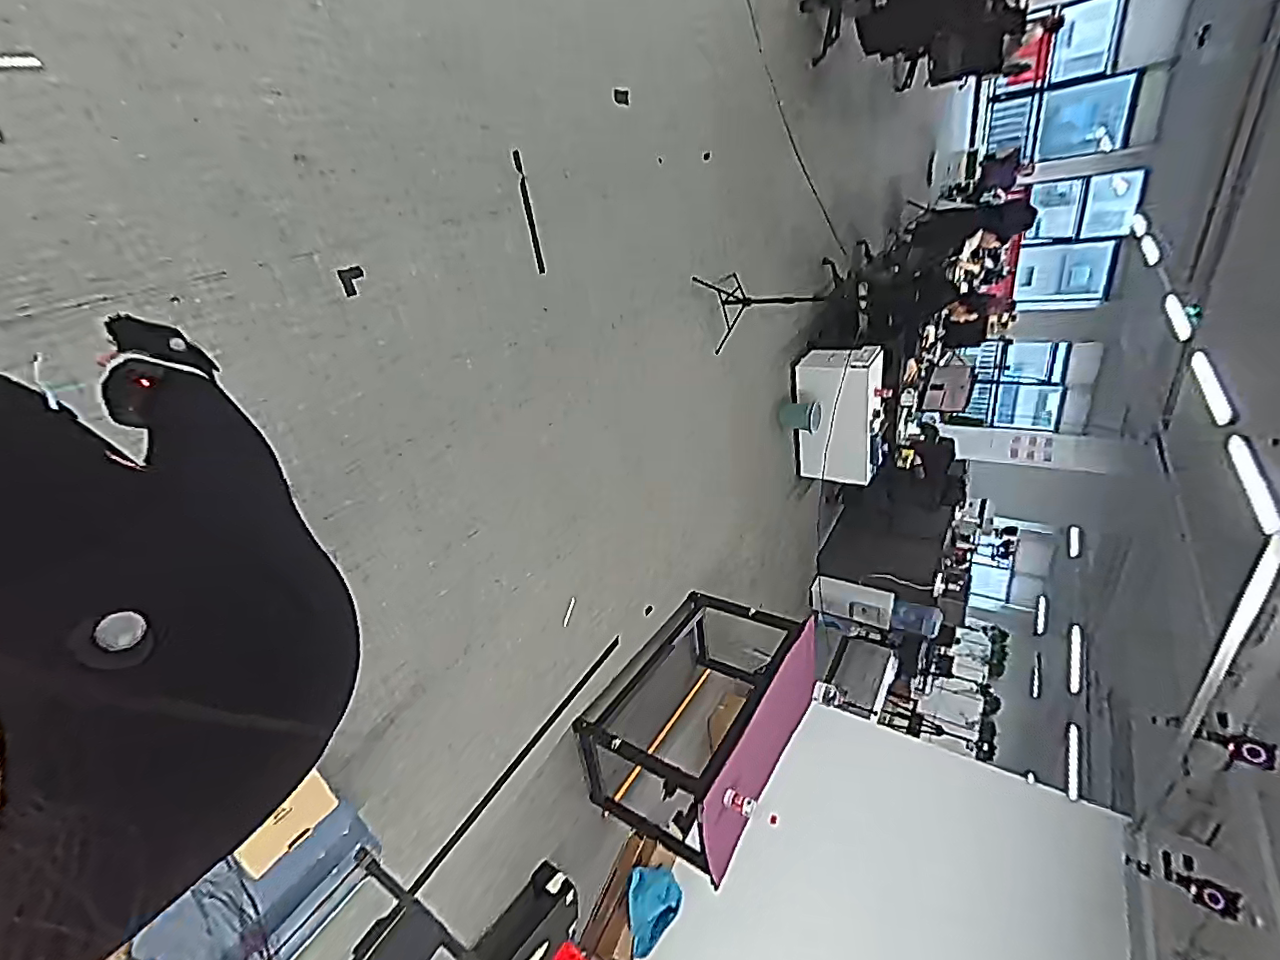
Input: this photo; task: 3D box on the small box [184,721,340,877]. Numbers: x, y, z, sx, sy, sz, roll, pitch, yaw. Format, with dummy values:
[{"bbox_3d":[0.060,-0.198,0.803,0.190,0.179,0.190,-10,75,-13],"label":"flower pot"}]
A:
[{"bbox_3d":[-0.737,0.613,1.061,0.168,0.176,0.179,-40,131,-44],"label":"small box"}]
